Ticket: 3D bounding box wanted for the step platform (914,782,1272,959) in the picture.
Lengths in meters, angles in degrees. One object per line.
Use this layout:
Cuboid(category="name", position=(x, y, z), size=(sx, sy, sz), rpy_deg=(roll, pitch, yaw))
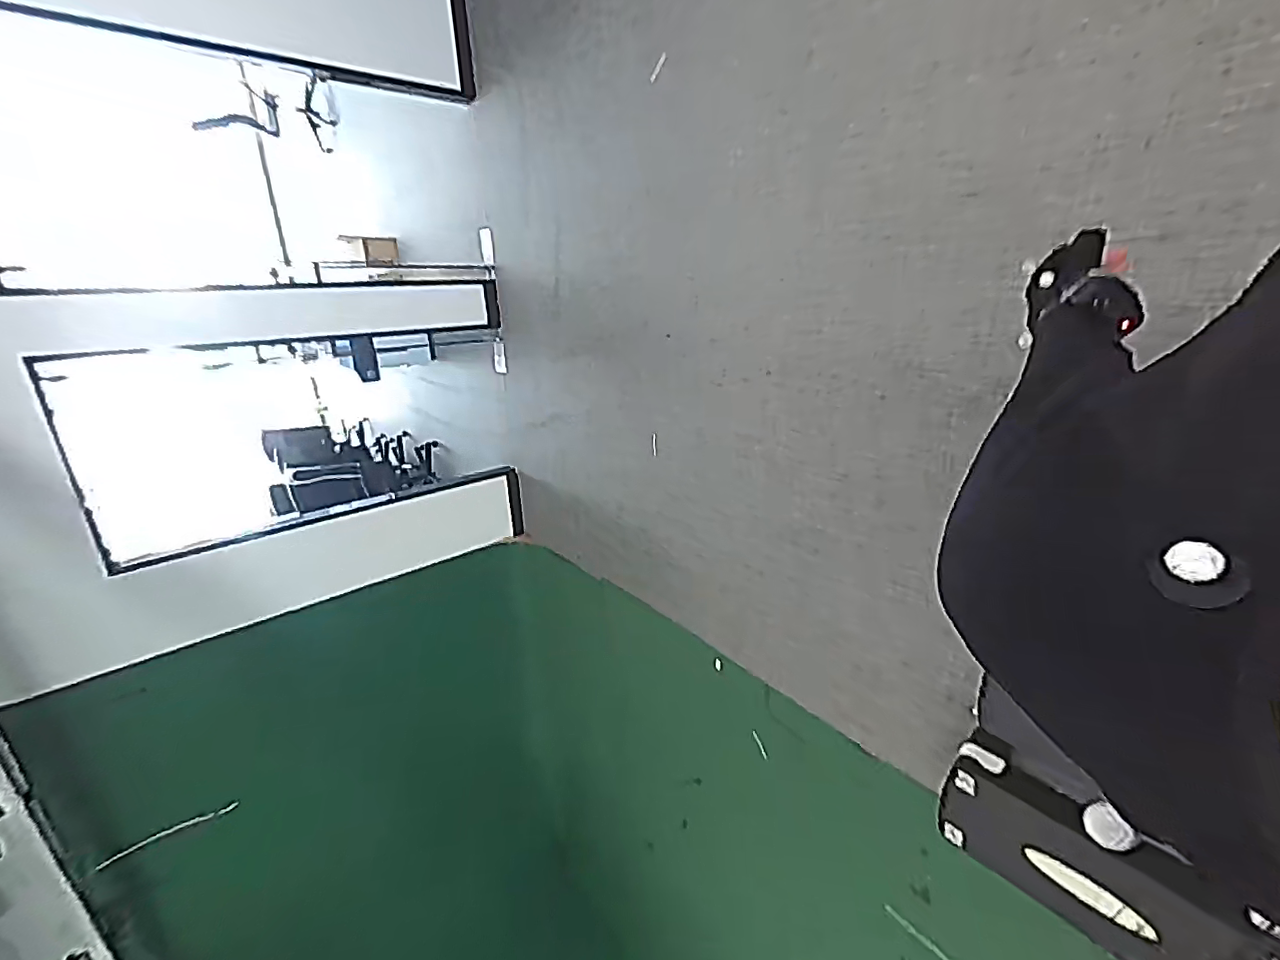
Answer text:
Cuboid(category="step platform", position=(1.000, 1.010, 1.194), size=(0.684, 0.204, 0.286), rpy_deg=(20, 119, 46))
